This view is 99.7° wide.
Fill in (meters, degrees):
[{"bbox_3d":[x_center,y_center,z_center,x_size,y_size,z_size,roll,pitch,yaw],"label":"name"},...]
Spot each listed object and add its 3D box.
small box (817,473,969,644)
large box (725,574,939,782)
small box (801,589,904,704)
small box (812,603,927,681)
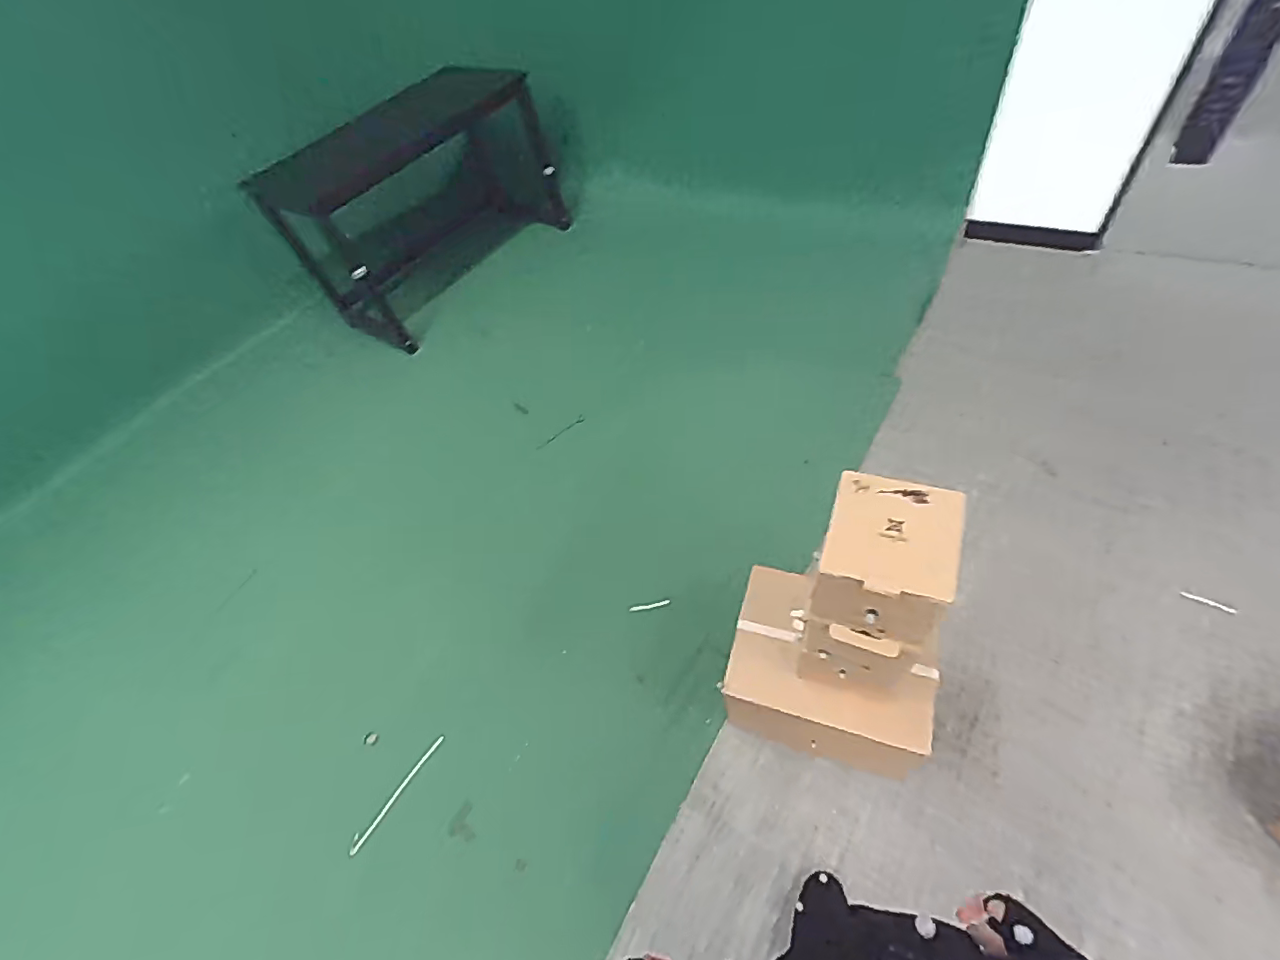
[{"bbox_3d":[0.364,0.119,0.800,0.168,0.176,0.179,14,60,22],"label":"small box"},{"bbox_3d":[0.441,0.457,1.258,0.408,0.320,0.320,9,55,21],"label":"large box"},{"bbox_3d":[0.419,0.316,1.057,0.179,0.176,0.168,13,59,22],"label":"small box"},{"bbox_3d":[0.399,0.219,0.927,0.168,0.176,0.179,15,59,23],"label":"small box"}]
